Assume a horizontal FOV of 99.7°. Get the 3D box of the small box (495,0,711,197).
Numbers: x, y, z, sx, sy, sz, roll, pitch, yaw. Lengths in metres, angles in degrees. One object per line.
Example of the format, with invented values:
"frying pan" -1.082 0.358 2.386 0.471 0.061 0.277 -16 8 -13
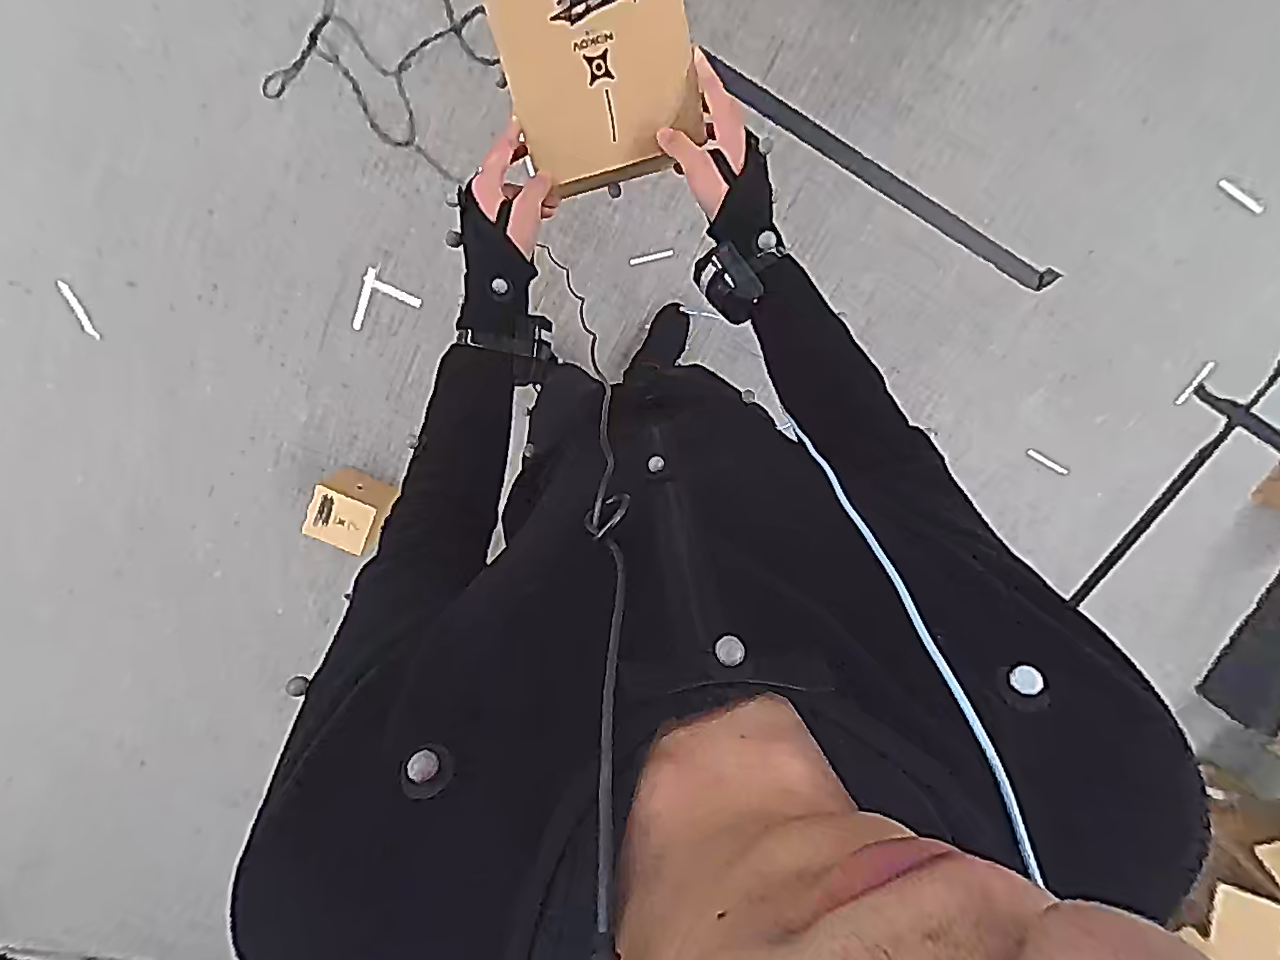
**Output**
"small box" -0.039 -0.401 0.540 0.168 0.176 0.179 -14 115 1
